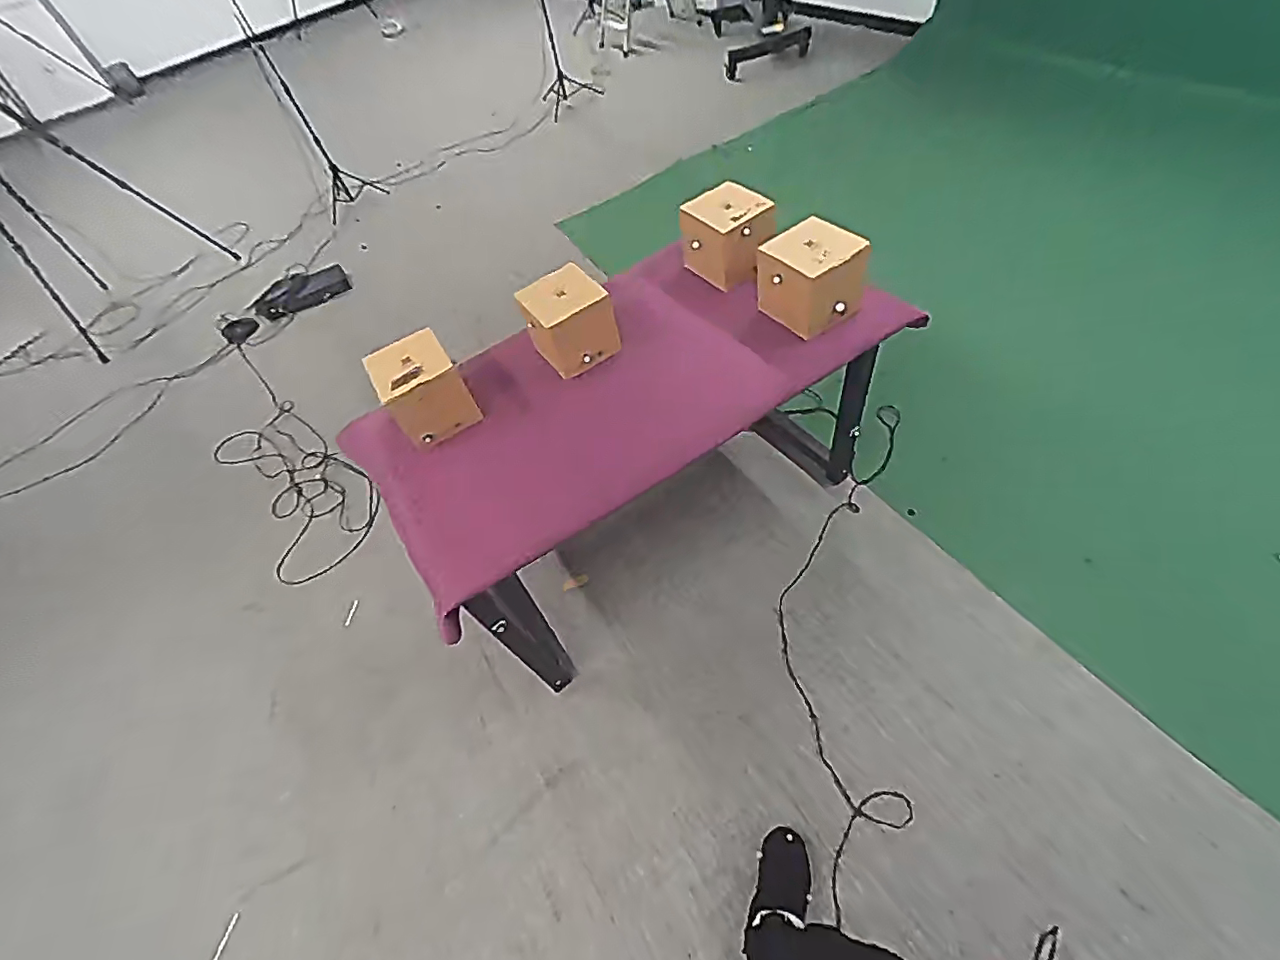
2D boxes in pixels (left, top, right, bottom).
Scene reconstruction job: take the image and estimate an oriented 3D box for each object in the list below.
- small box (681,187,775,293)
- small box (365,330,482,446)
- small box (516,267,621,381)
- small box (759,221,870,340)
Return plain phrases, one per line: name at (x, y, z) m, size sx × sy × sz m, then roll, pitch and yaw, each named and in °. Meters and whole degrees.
small box at (0.227, -0.614, 1.391) m, size 0.168 × 0.176 × 0.179 m, roll -34°, pitch 55°, yaw -12°
small box at (-0.487, -0.201, 1.234) m, size 0.168 × 0.176 × 0.179 m, roll -31°, pitch 56°, yaw -12°
small box at (-0.167, -0.371, 1.298) m, size 0.168 × 0.176 × 0.179 m, roll -33°, pitch 56°, yaw -12°
small box at (0.389, -0.452, 1.236) m, size 0.168 × 0.176 × 0.179 m, roll -33°, pitch 54°, yaw -10°
